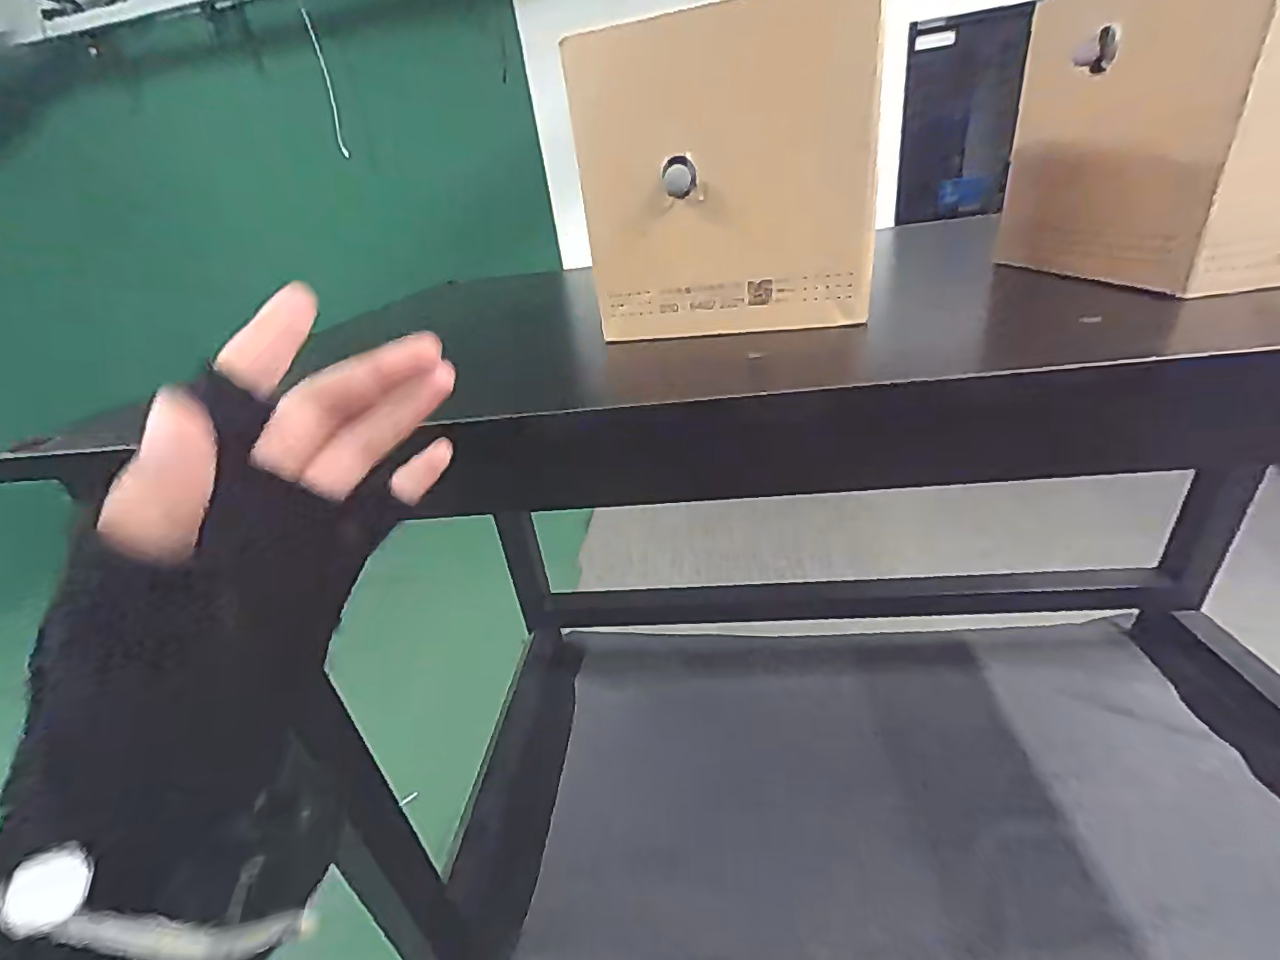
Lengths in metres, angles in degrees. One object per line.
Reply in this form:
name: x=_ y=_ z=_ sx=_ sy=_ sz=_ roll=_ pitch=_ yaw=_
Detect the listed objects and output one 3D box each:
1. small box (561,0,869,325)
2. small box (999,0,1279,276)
small box: x=0.065 y=-0.210 z=0.382 sx=0.168 sy=0.176 sz=0.179 roll=0 pitch=28 yaw=16
small box: x=0.352 y=-0.224 z=0.323 sx=0.168 sy=0.176 sz=0.179 roll=-7 pitch=27 yaw=4
